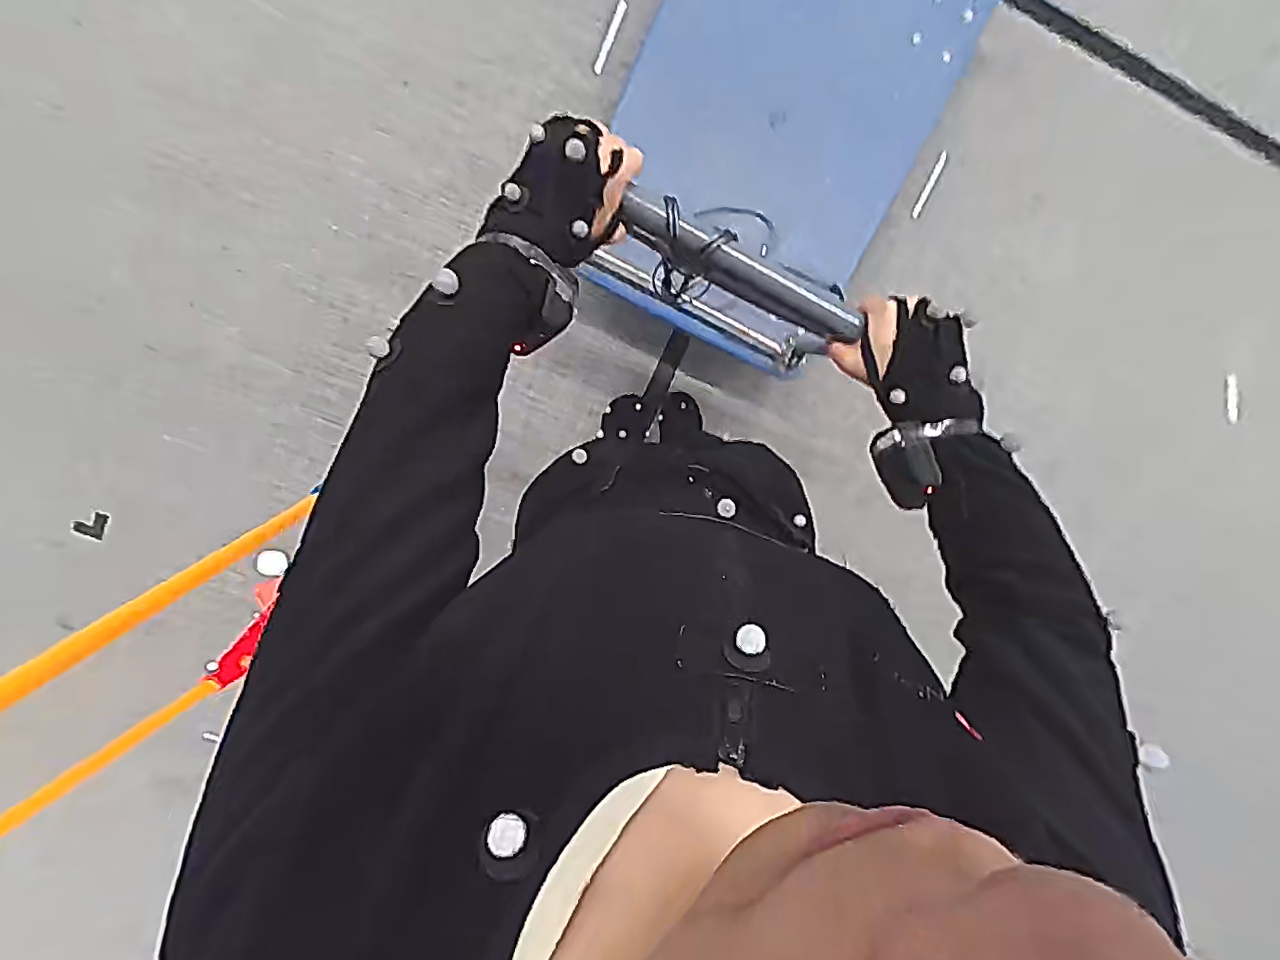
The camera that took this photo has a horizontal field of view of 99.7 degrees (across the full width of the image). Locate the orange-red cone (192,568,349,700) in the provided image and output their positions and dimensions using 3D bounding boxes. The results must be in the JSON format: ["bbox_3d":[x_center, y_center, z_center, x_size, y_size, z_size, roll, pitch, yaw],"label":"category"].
[{"bbox_3d":[-0.850,0.368,1.203,0.199,0.360,0.198,-21,103,-1],"label":"orange-red cone"}]
